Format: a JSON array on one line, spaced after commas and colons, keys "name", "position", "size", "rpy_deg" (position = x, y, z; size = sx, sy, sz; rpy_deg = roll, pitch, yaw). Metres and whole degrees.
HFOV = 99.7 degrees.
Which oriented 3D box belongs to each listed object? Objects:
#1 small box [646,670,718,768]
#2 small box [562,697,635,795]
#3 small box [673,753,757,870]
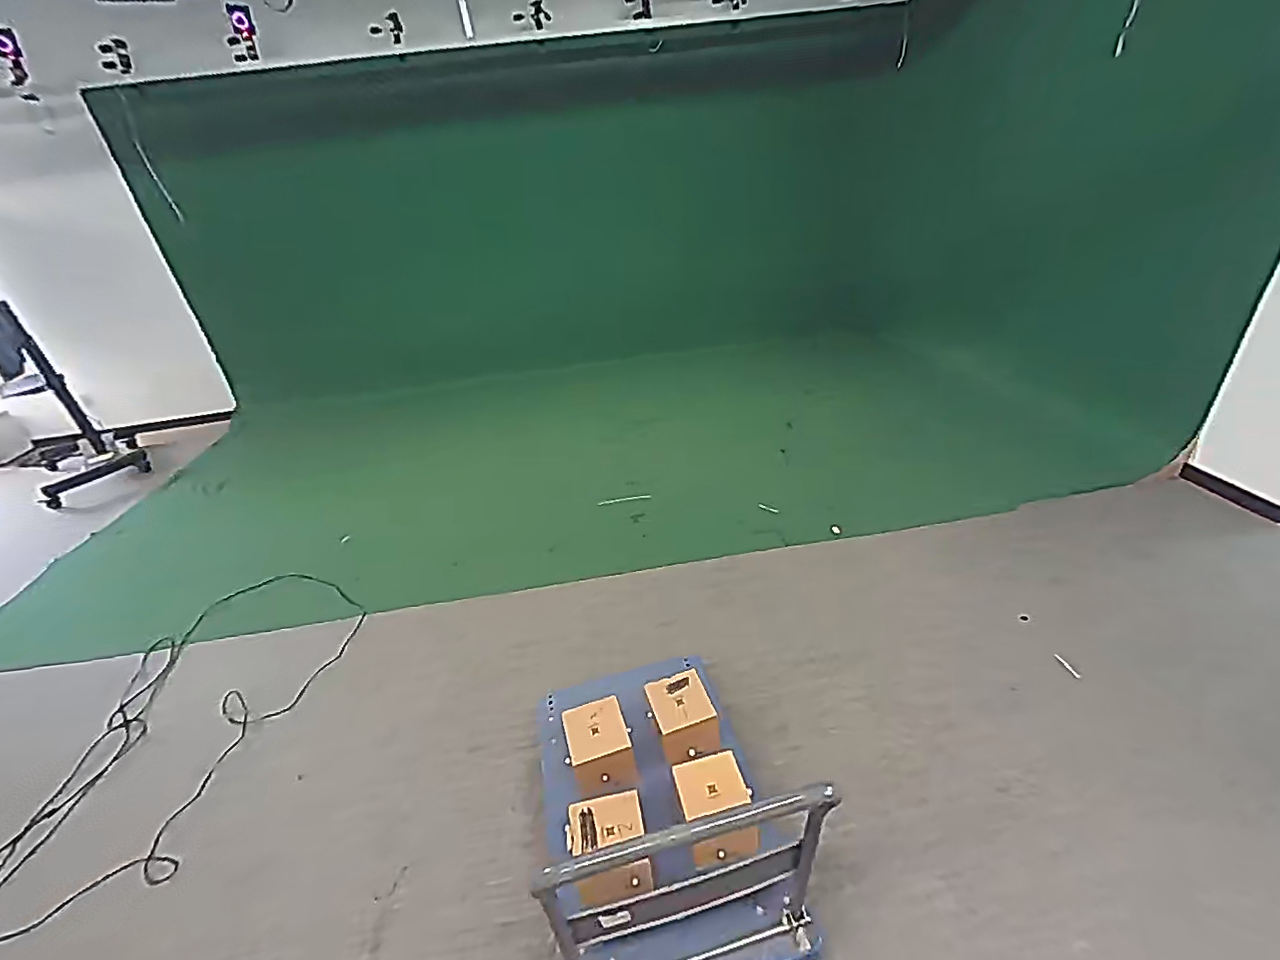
[{"name": "small box", "position": [0.122, 0.705, 1.598], "size": [0.168, 0.176, 0.179], "rpy_deg": [-14, 33, -11]}, {"name": "small box", "position": [-0.118, 0.764, 1.544], "size": [0.168, 0.176, 0.179], "rpy_deg": [-13, 32, -12]}, {"name": "small box", "position": [0.186, 0.838, 1.370], "size": [0.168, 0.176, 0.179], "rpy_deg": [-11, 32, -8]}]
